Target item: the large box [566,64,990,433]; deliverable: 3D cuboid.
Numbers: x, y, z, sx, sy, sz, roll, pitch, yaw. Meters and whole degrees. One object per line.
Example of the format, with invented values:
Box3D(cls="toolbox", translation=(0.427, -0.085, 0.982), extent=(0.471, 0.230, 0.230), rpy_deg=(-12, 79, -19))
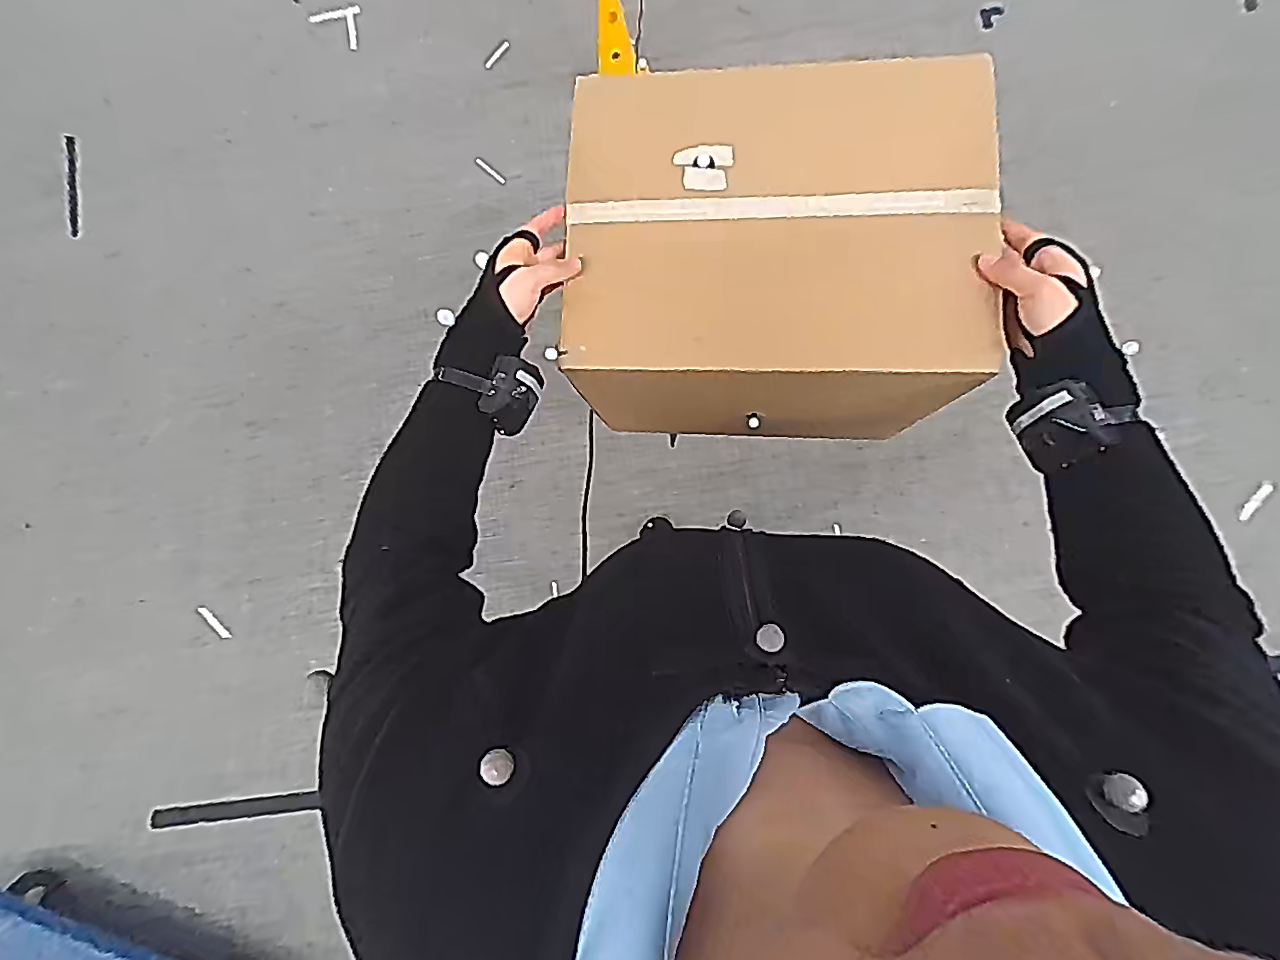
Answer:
Box3D(cls="large box", translation=(0.146, -0.237, 0.679), extent=(0.408, 0.320, 0.320), rpy_deg=(1, 82, 8))
